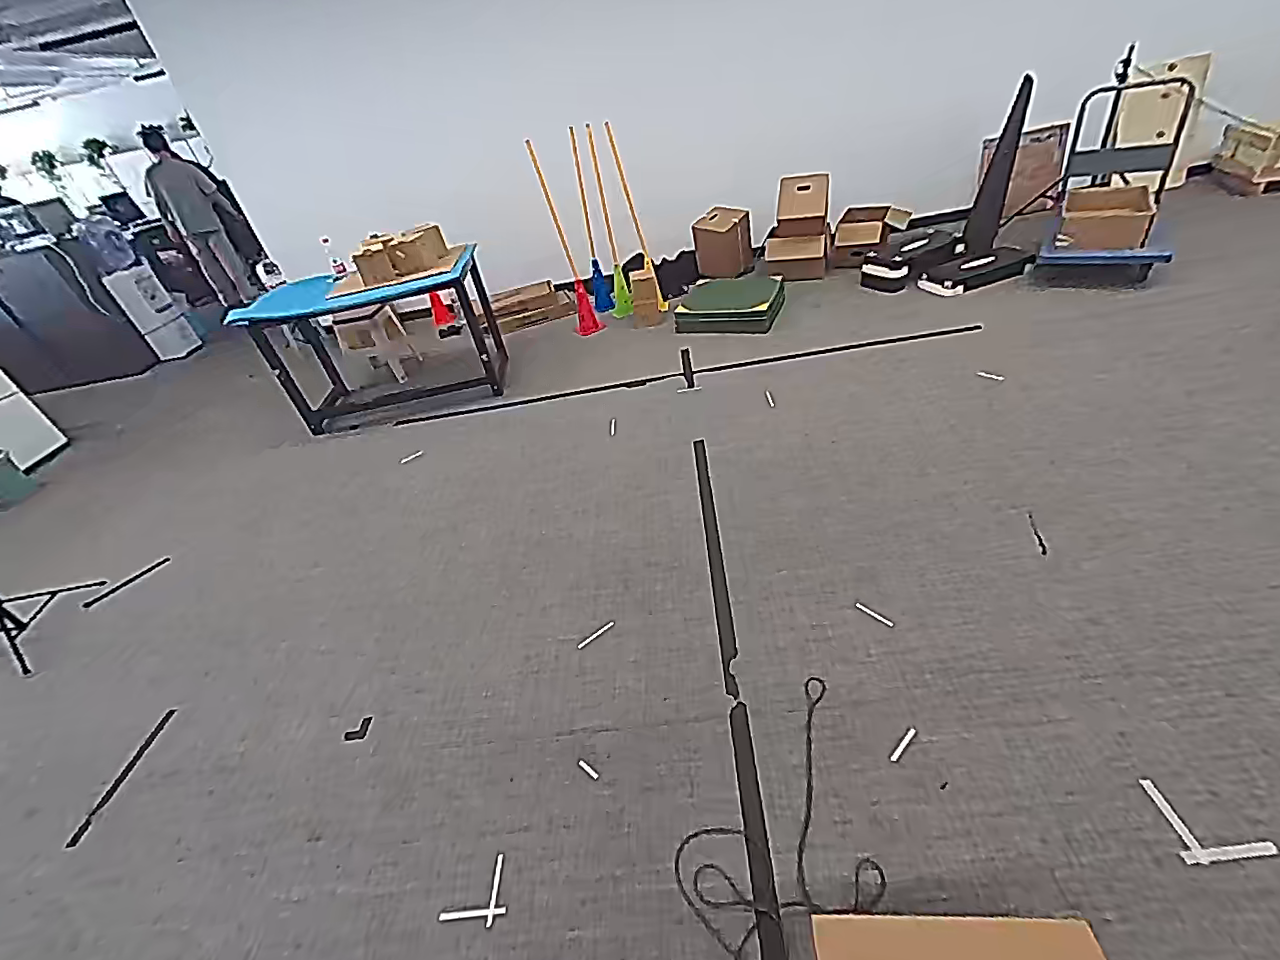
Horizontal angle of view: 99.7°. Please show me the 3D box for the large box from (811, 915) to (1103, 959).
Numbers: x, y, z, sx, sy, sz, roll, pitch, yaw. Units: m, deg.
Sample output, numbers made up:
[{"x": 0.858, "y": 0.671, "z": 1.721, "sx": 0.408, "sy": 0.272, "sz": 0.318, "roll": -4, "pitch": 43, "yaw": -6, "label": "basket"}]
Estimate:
[{"x": 0.493, "y": 0.895, "z": 0.811, "sx": 0.408, "sy": 0.320, "sz": 0.320, "roll": -6, "pitch": 37, "yaw": 9, "label": "large box"}]
